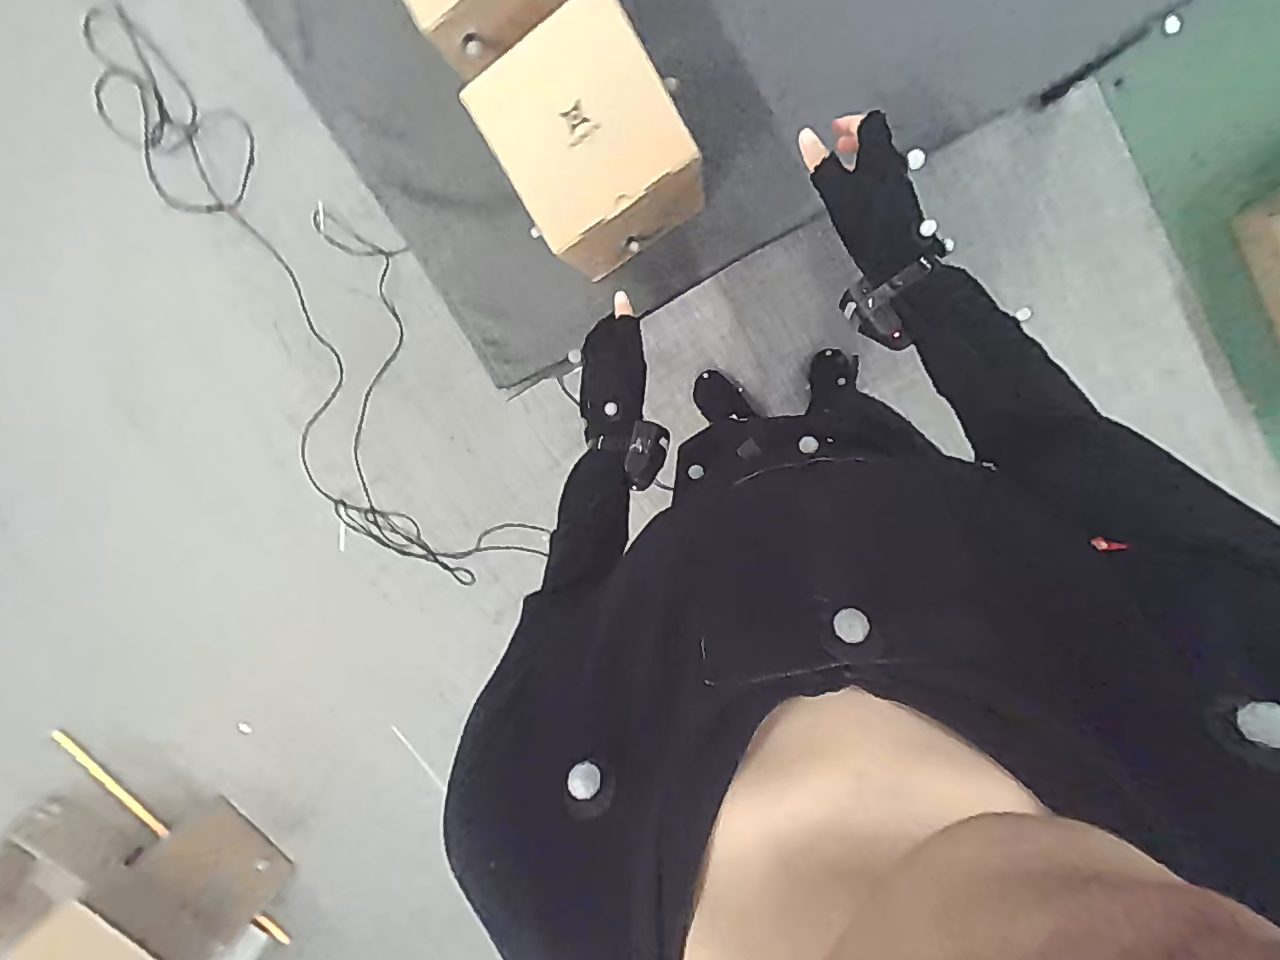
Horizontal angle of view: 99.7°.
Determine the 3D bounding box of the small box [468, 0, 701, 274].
[{"bbox_3d":[-0.046,-0.354,0.590,0.168,0.176,0.179,-31,96,13],"label":"small box"}]
